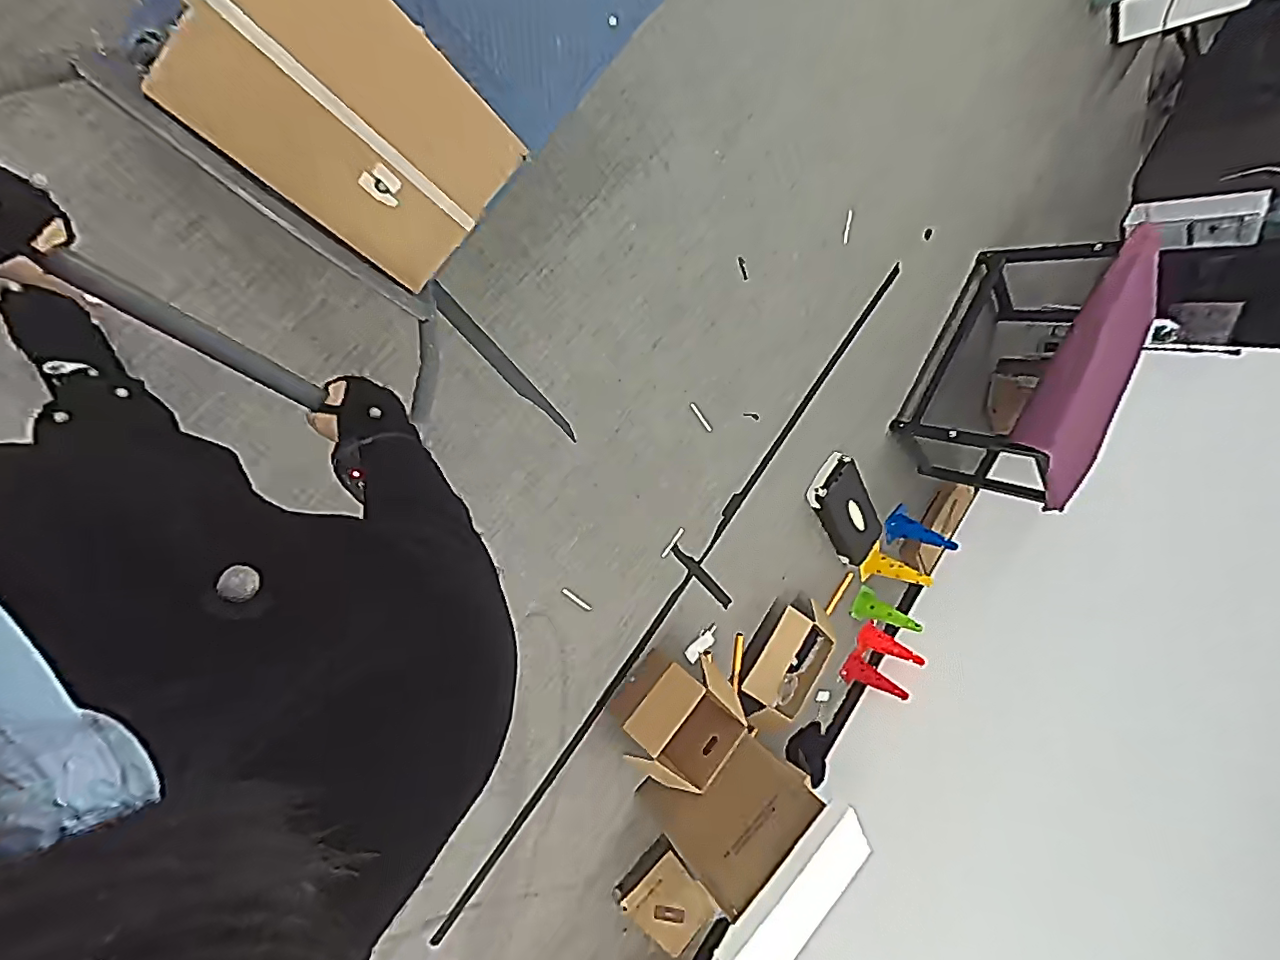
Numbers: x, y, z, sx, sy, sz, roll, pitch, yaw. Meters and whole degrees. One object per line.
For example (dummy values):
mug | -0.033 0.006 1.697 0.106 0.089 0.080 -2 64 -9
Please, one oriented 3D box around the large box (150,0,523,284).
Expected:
large box | -0.479 -0.622 0.916 0.320 0.320 0.408 -44 132 12
